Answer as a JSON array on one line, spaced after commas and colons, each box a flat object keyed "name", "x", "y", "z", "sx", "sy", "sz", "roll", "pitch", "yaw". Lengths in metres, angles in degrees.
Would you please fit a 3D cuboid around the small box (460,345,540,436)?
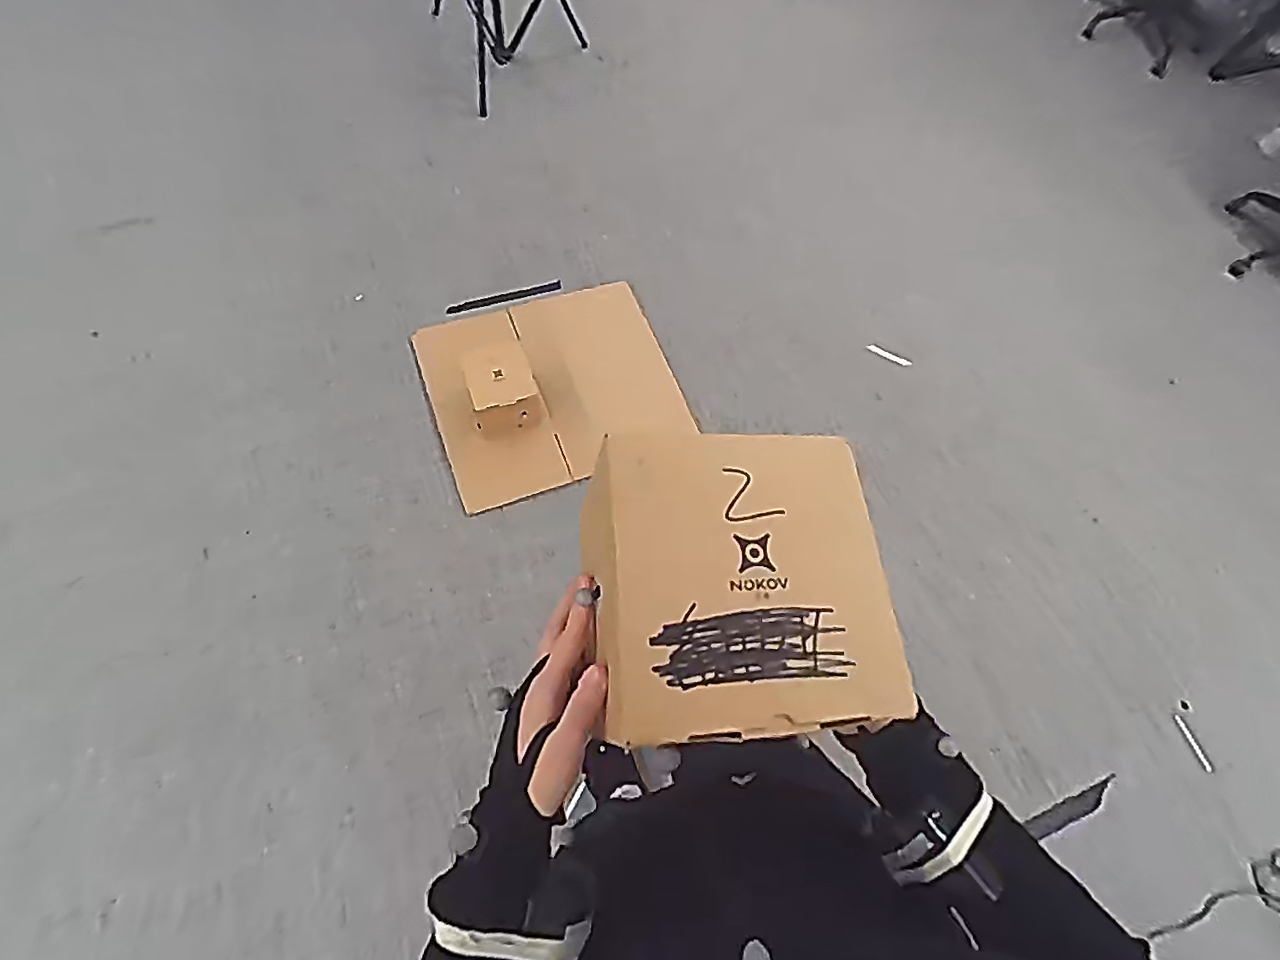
[{"name": "small box", "x": -0.375, "y": -0.235, "z": 1.472, "sx": 0.168, "sy": 0.176, "sz": 0.179, "roll": -17, "pitch": 71, "yaw": -15}]
